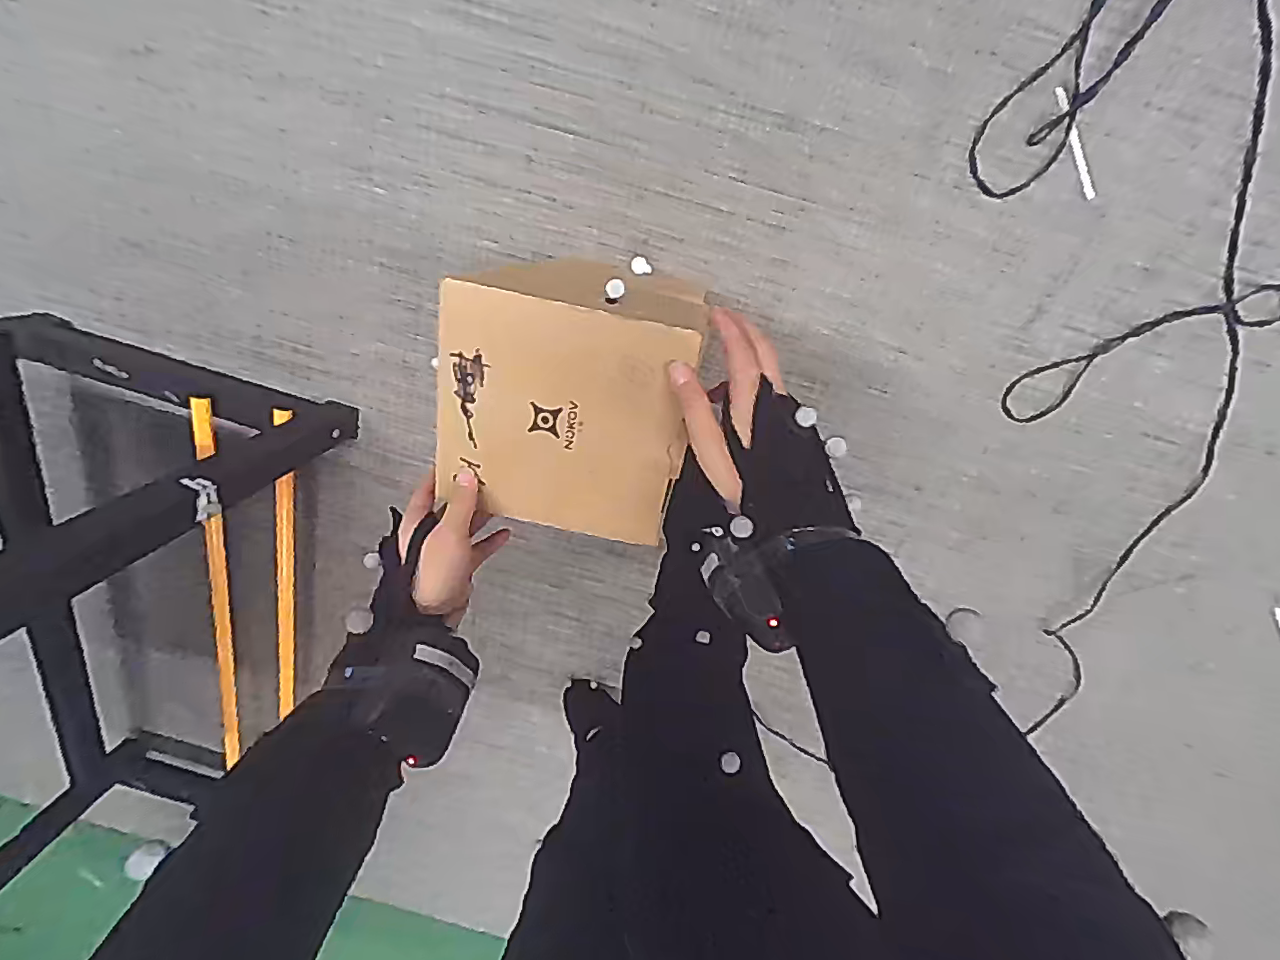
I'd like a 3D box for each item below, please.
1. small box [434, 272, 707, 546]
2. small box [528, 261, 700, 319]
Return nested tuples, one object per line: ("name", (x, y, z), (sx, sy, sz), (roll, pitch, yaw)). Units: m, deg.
("small box", (-0.049, -0.071, 0.450), (0.179, 0.176, 0.168), (12, 114, 1))
("small box", (-0.030, -0.135, 0.601), (0.168, 0.176, 0.179), (12, 114, 2))
